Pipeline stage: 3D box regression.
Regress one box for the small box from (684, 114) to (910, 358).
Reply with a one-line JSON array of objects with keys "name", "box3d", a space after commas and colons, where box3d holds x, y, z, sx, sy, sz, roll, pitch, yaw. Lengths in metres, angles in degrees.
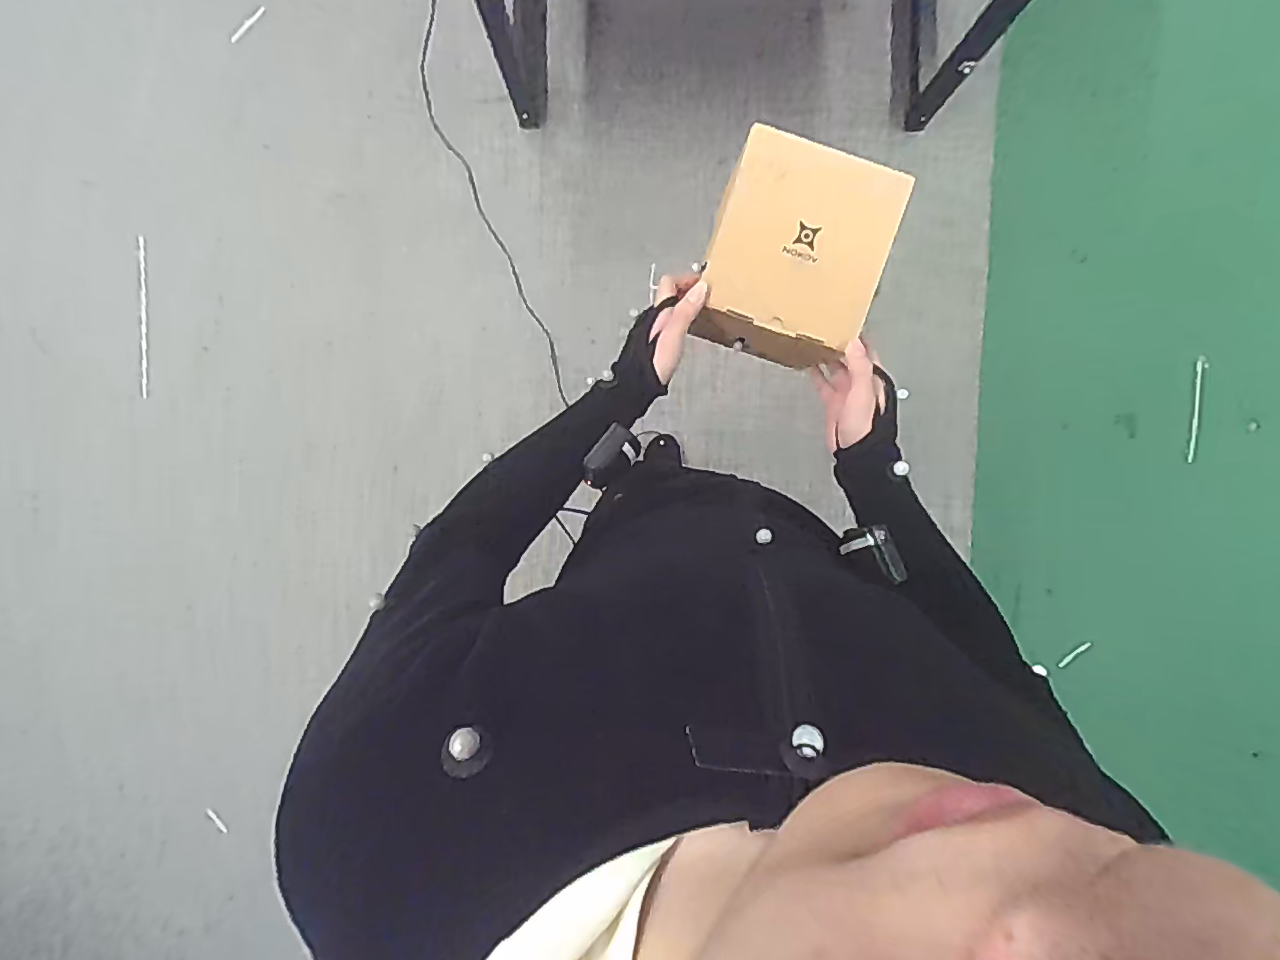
[{"name": "small box", "box3d": [0.154, -0.248, 0.598, 0.168, 0.176, 0.179, 18, 97, -3]}]
